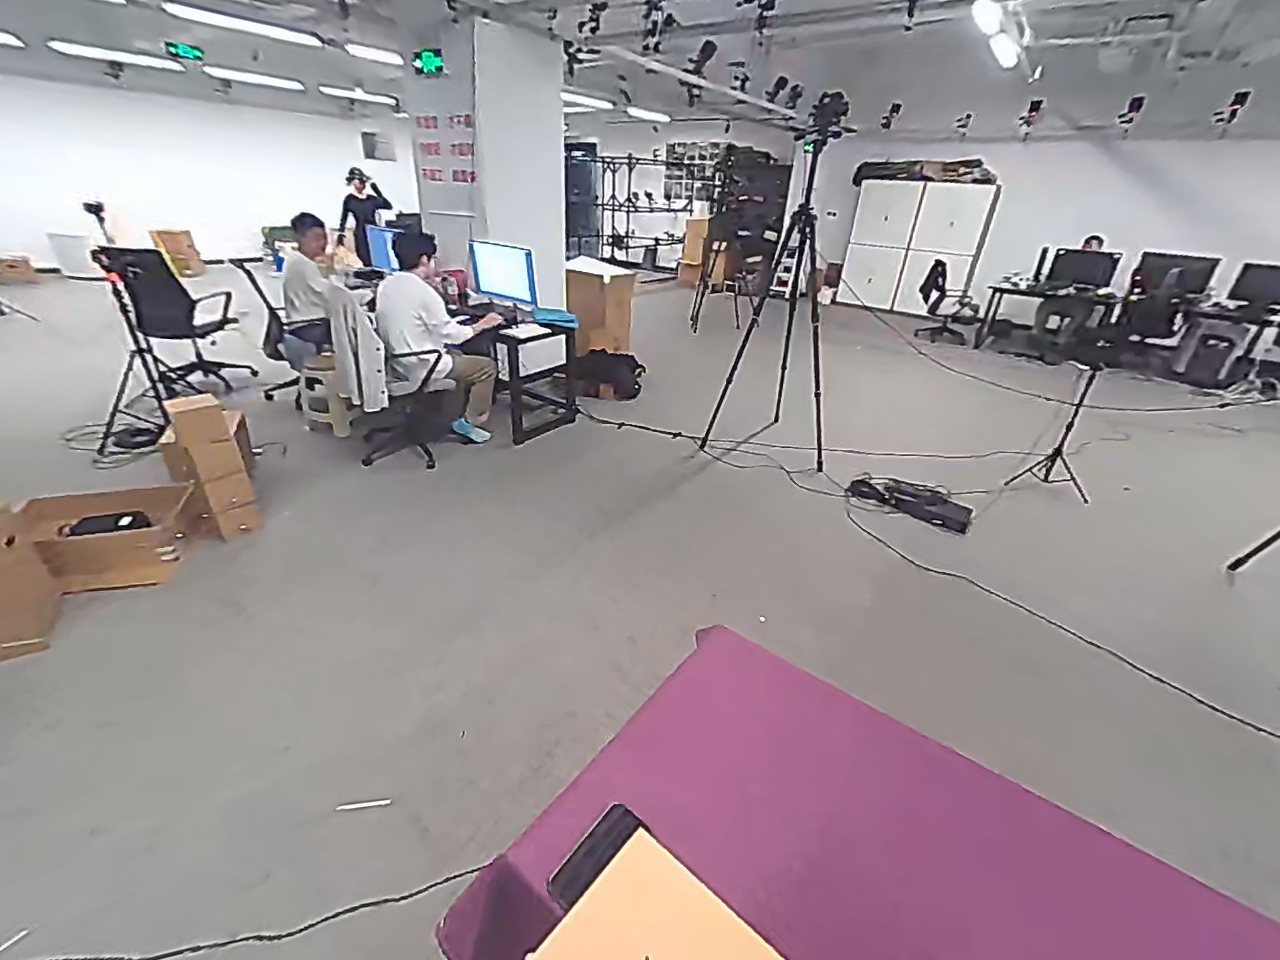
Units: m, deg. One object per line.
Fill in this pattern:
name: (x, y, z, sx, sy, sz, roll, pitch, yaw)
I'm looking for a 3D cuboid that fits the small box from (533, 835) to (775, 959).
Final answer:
small box: (0.007, 0.473, 0.470, 0.168, 0.176, 0.179, 20, 41, 37)
